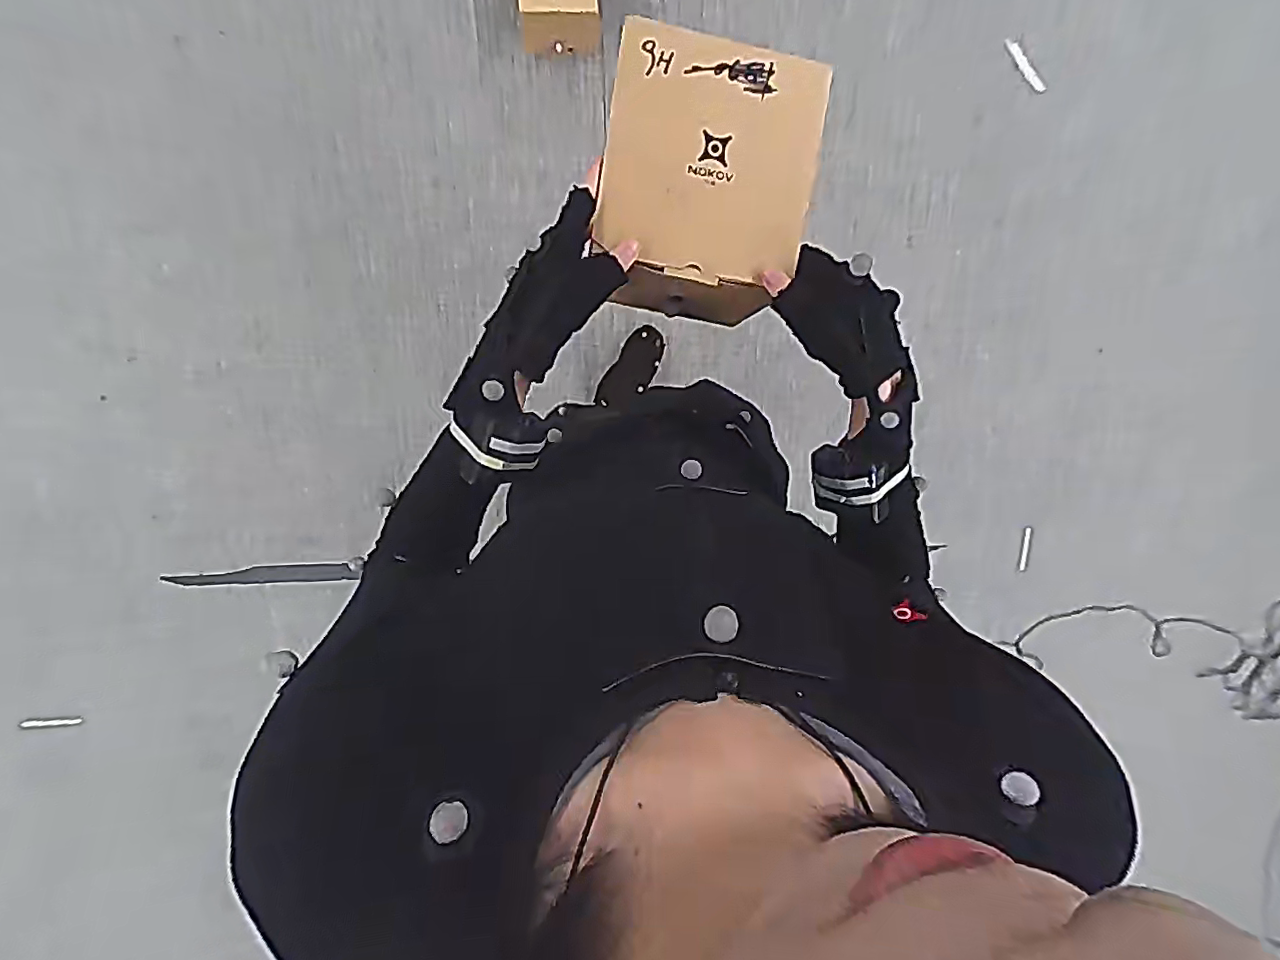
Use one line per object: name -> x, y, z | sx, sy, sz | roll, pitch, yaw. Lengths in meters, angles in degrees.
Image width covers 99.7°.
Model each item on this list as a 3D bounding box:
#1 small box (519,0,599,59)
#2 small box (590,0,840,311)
small box -> -0.177, -1.065, 1.179 | 0.168, 0.176, 0.179 | -4, 104, -5
small box -> 0.050, -0.261, 0.484 | 0.168, 0.176, 0.179 | 8, 97, -6
